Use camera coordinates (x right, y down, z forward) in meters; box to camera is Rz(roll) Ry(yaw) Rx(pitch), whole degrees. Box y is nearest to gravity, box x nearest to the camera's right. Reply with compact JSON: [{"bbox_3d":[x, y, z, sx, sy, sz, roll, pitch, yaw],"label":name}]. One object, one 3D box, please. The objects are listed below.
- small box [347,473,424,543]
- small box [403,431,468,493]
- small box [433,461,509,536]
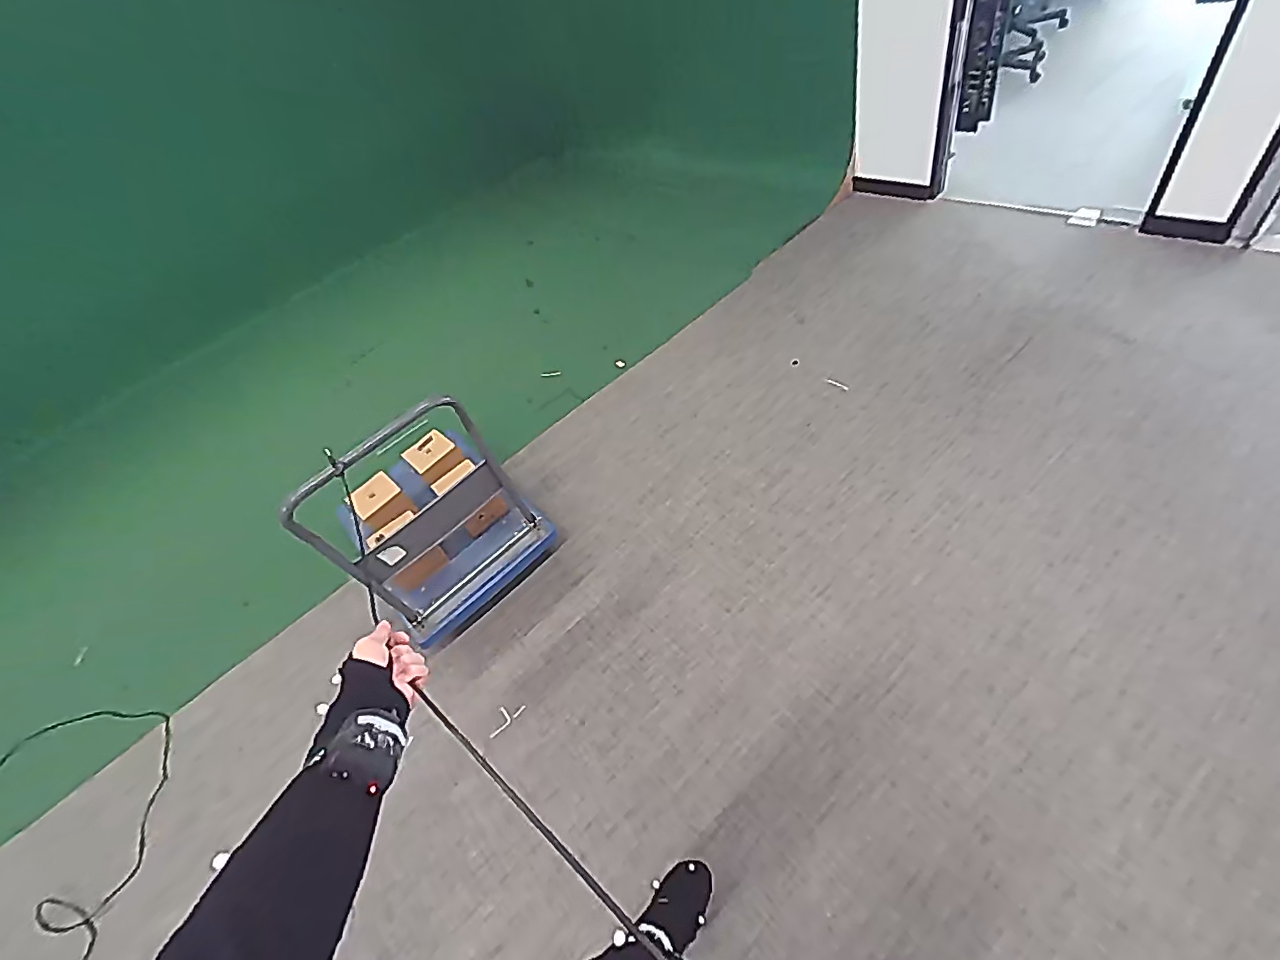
[{"bbox_3d":[-0.949,0.111,2.029,0.179,0.176,0.168,31,65,36],"label":"small box"},{"bbox_3d":[-0.779,-0.056,2.112,0.179,0.176,0.168,32,67,36],"label":"small box"},{"bbox_3d":[-0.605,0.069,1.947,0.168,0.176,0.179,-40,51,-16],"label":"small box"}]
